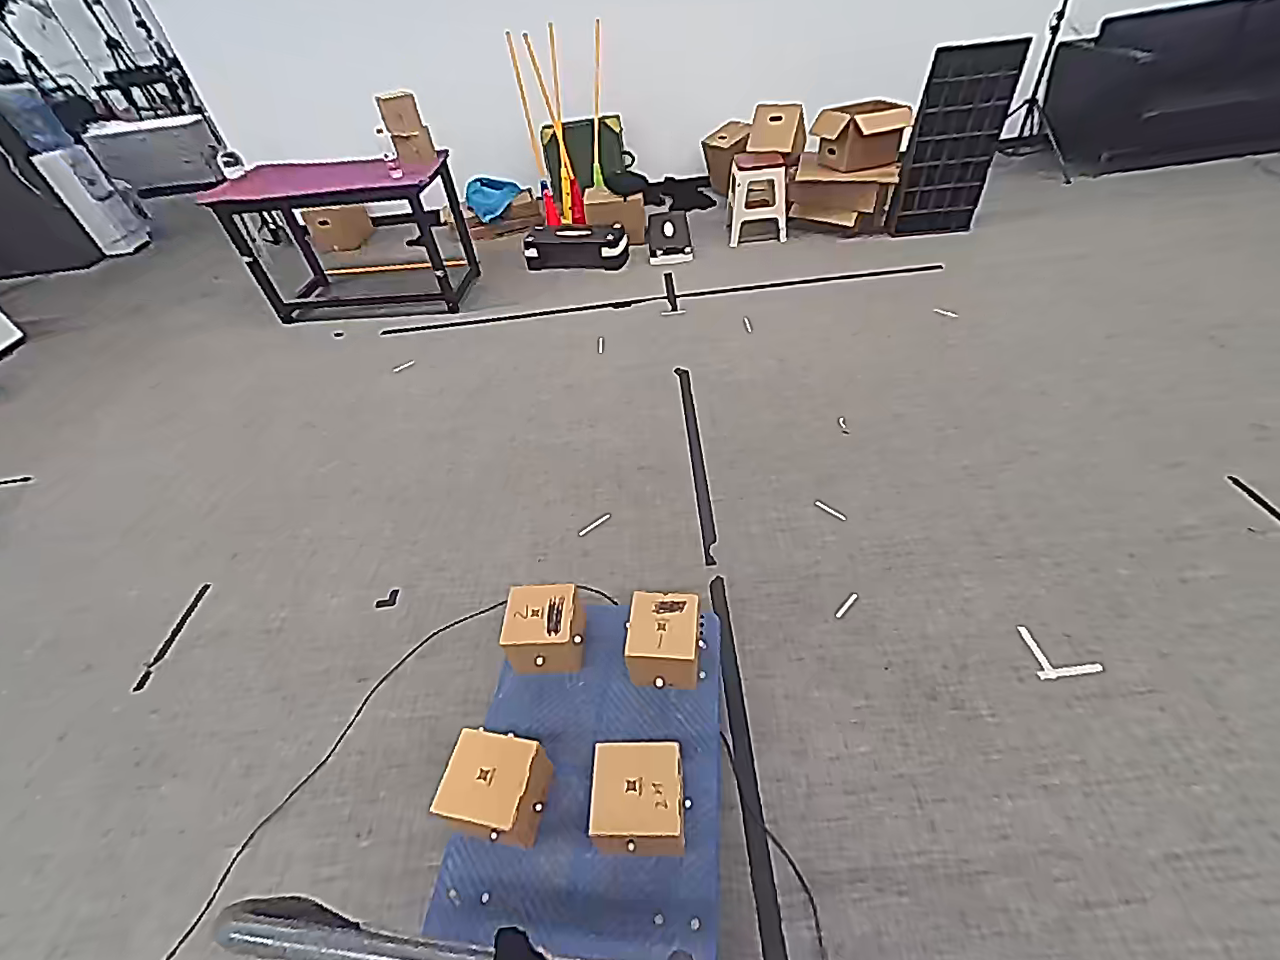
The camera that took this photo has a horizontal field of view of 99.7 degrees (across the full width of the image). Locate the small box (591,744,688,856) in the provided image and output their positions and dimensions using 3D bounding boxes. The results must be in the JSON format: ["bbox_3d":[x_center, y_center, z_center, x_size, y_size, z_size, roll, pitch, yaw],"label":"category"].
[{"bbox_3d":[0.006,0.659,1.112,0.179,0.176,0.168,-3,45,5],"label":"small box"}]

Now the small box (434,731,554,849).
[{"bbox_3d":[-0.300,0.662,1.153,0.179,0.176,0.168,5,45,10],"label":"small box"}]

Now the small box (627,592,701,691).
[{"bbox_3d":[0.066,0.404,1.358,0.168,0.176,0.179,1,47,9],"label":"small box"}]
